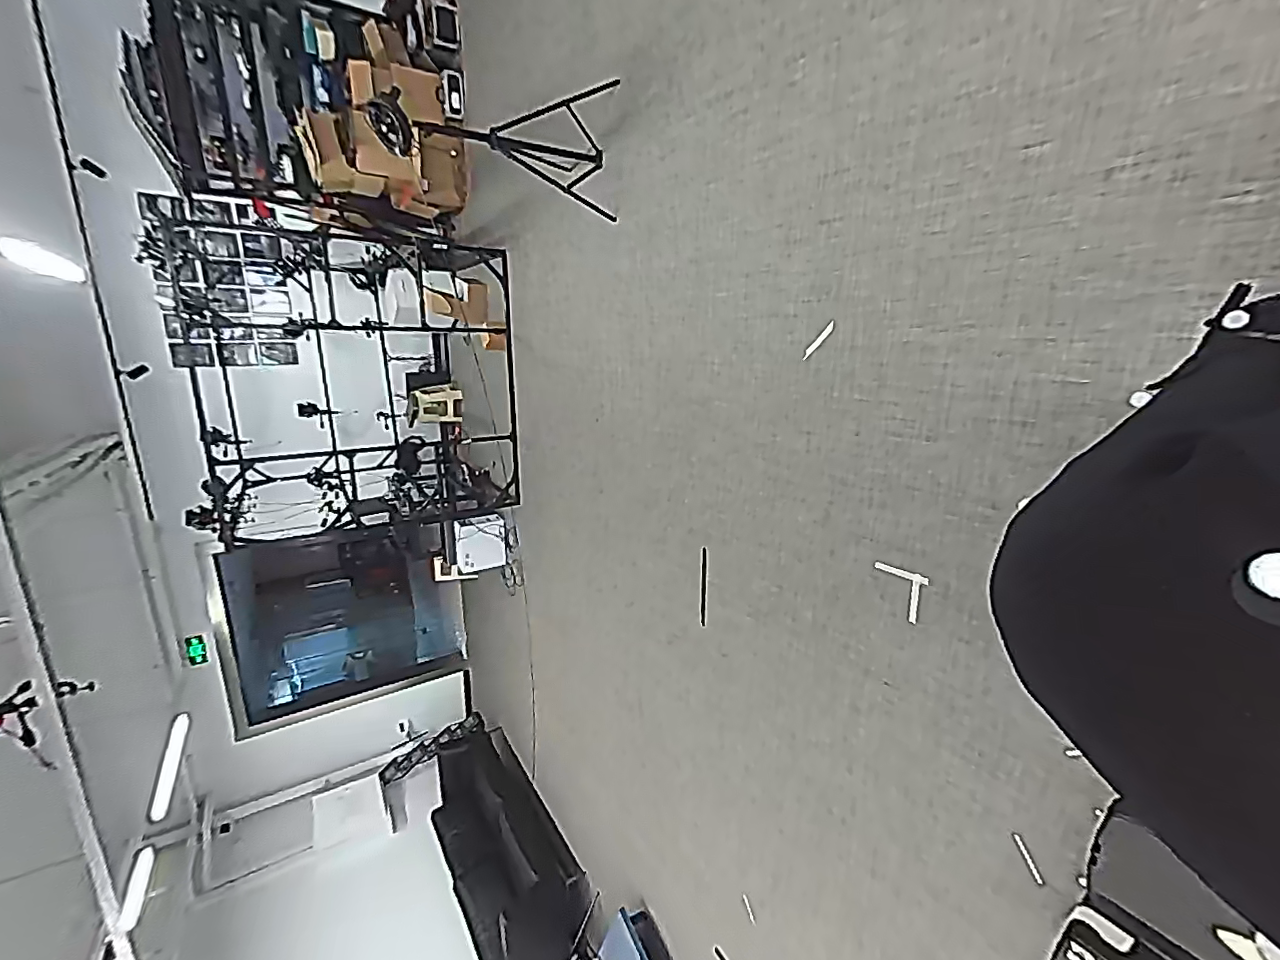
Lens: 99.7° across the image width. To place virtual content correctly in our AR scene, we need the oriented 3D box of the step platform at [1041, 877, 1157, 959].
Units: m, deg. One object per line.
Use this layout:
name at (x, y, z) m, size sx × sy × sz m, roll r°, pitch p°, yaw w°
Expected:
step platform at (1.203, 1.179, 1.054) m, size 0.684 × 0.204 × 0.286 m, roll 22°, pitch 116°, yaw 57°
